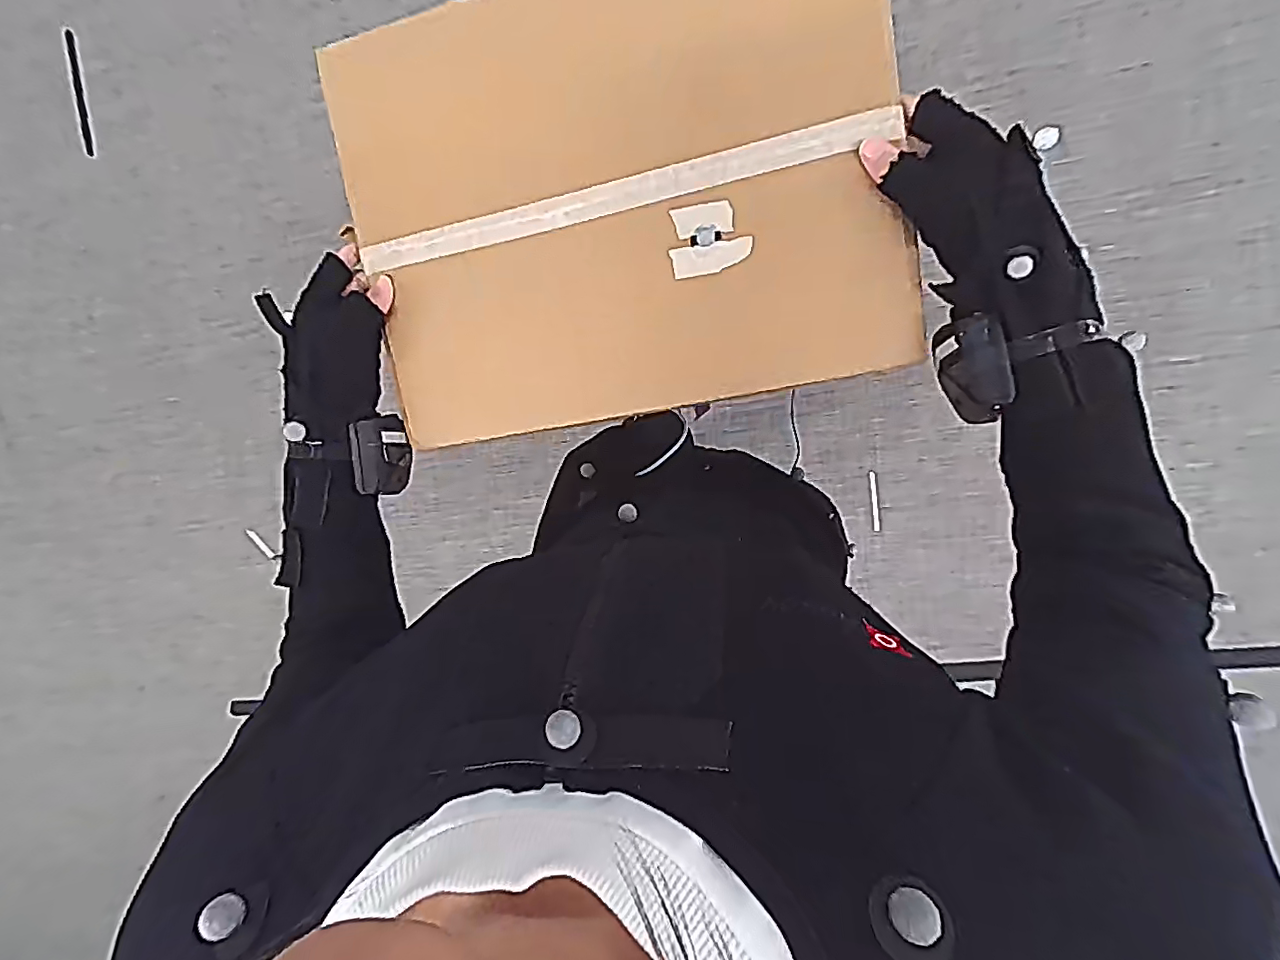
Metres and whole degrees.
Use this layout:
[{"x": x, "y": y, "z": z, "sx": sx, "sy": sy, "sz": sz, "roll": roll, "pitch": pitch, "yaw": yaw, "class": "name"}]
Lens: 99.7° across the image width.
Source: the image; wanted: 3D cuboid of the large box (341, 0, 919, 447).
[{"x": 0.005, "y": -0.233, "z": 0.552, "sx": 0.408, "sy": 0.320, "sz": 0.320, "roll": -9, "pitch": 99, "yaw": 10, "class": "large box"}]
